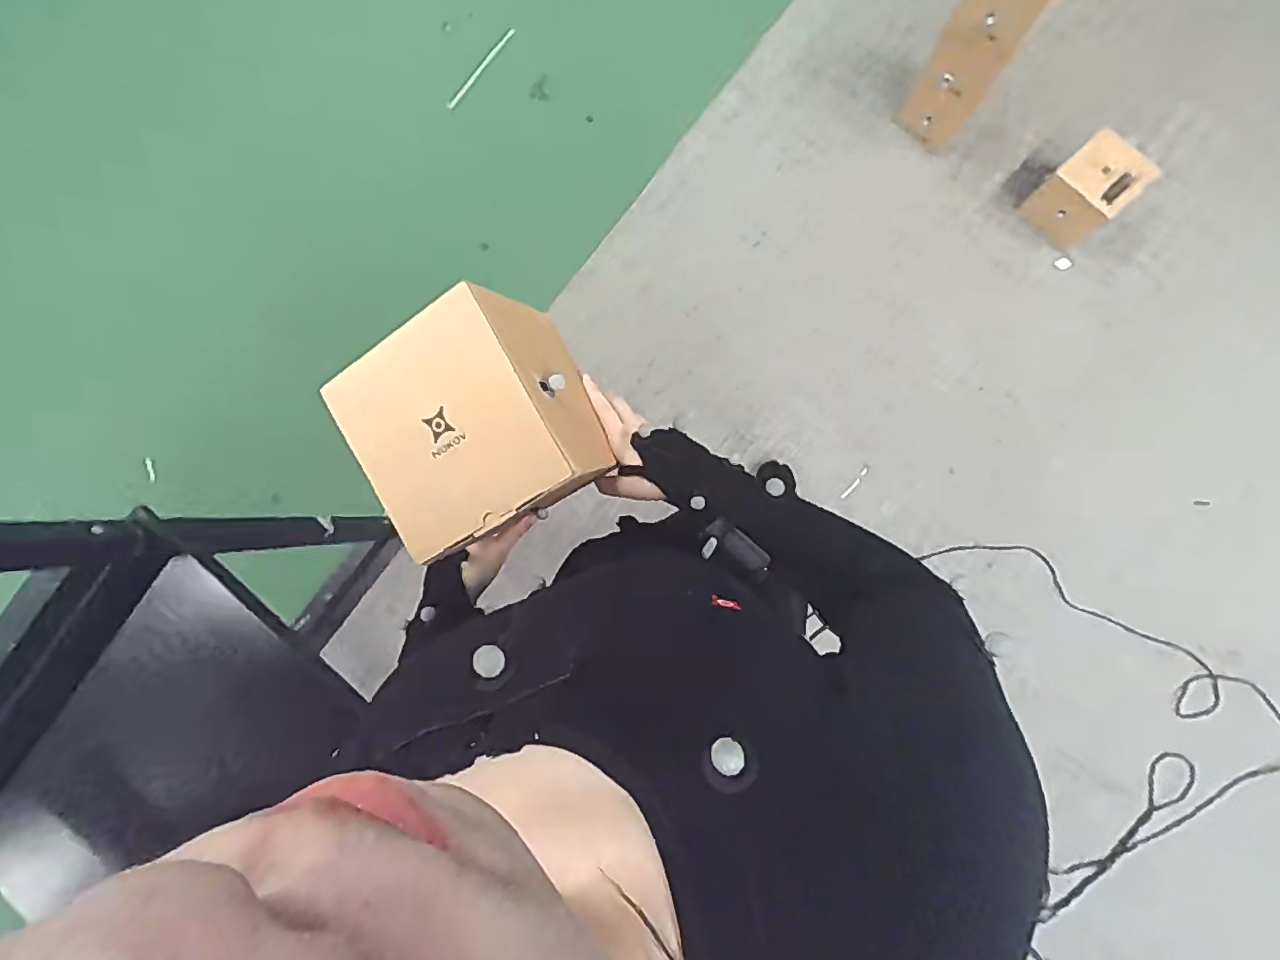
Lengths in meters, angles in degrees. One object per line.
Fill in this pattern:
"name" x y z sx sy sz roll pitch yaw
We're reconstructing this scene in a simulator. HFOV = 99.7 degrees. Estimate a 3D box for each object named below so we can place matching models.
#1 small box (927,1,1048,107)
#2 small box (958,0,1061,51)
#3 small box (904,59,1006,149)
"small box" 0.806 -1.026 1.249 0.168 0.176 0.179 40 92 9
"small box" 0.786 -1.033 1.085 0.168 0.176 0.179 40 91 9
"small box" 0.823 -1.018 1.411 0.168 0.176 0.179 43 92 7
